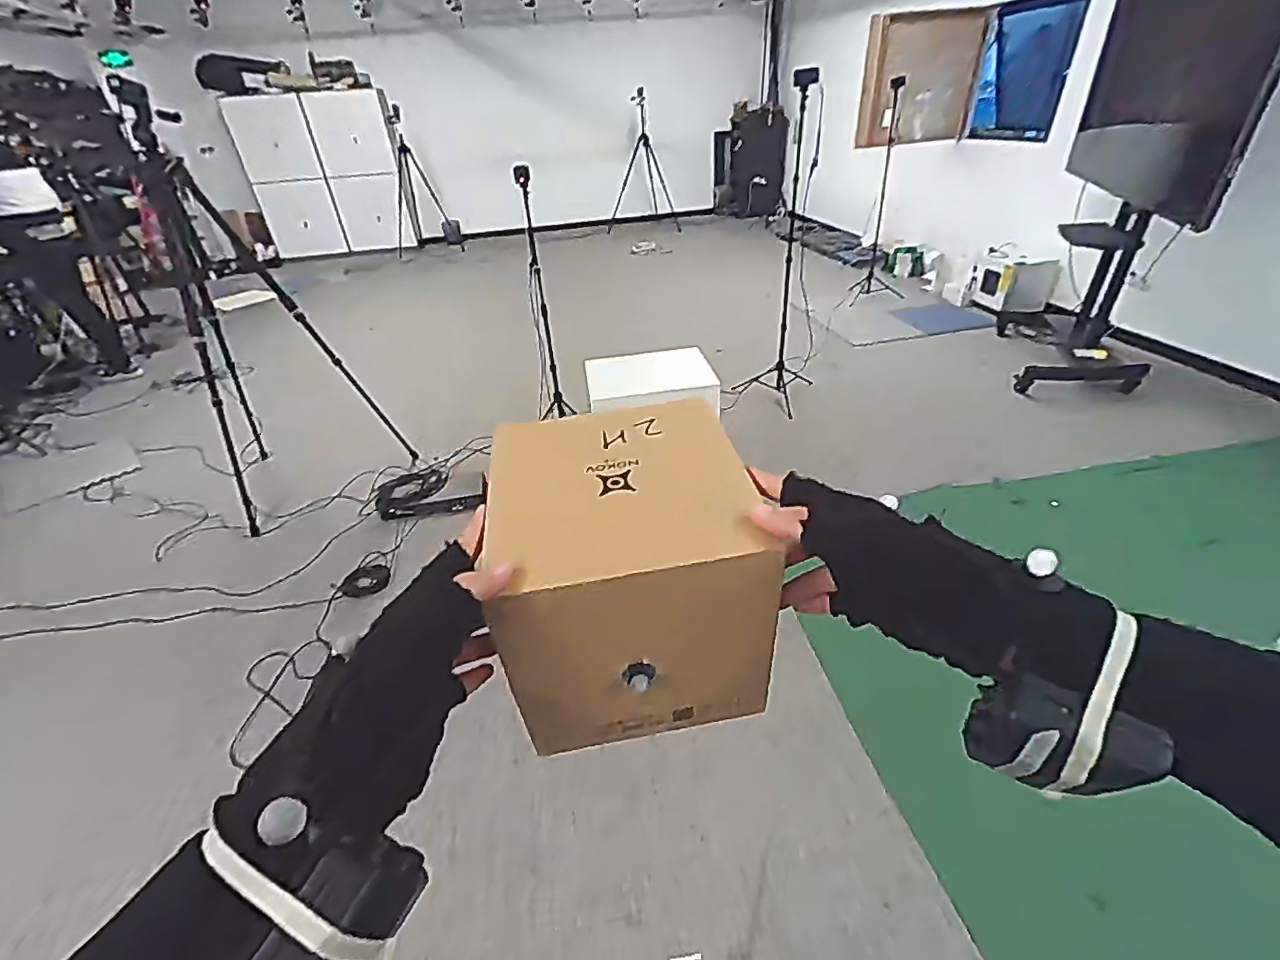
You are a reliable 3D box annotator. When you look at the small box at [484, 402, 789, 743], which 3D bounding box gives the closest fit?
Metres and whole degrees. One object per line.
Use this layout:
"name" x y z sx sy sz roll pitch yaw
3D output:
"small box" -0.006 0.066 0.392 0.168 0.176 0.179 -8 37 -6
